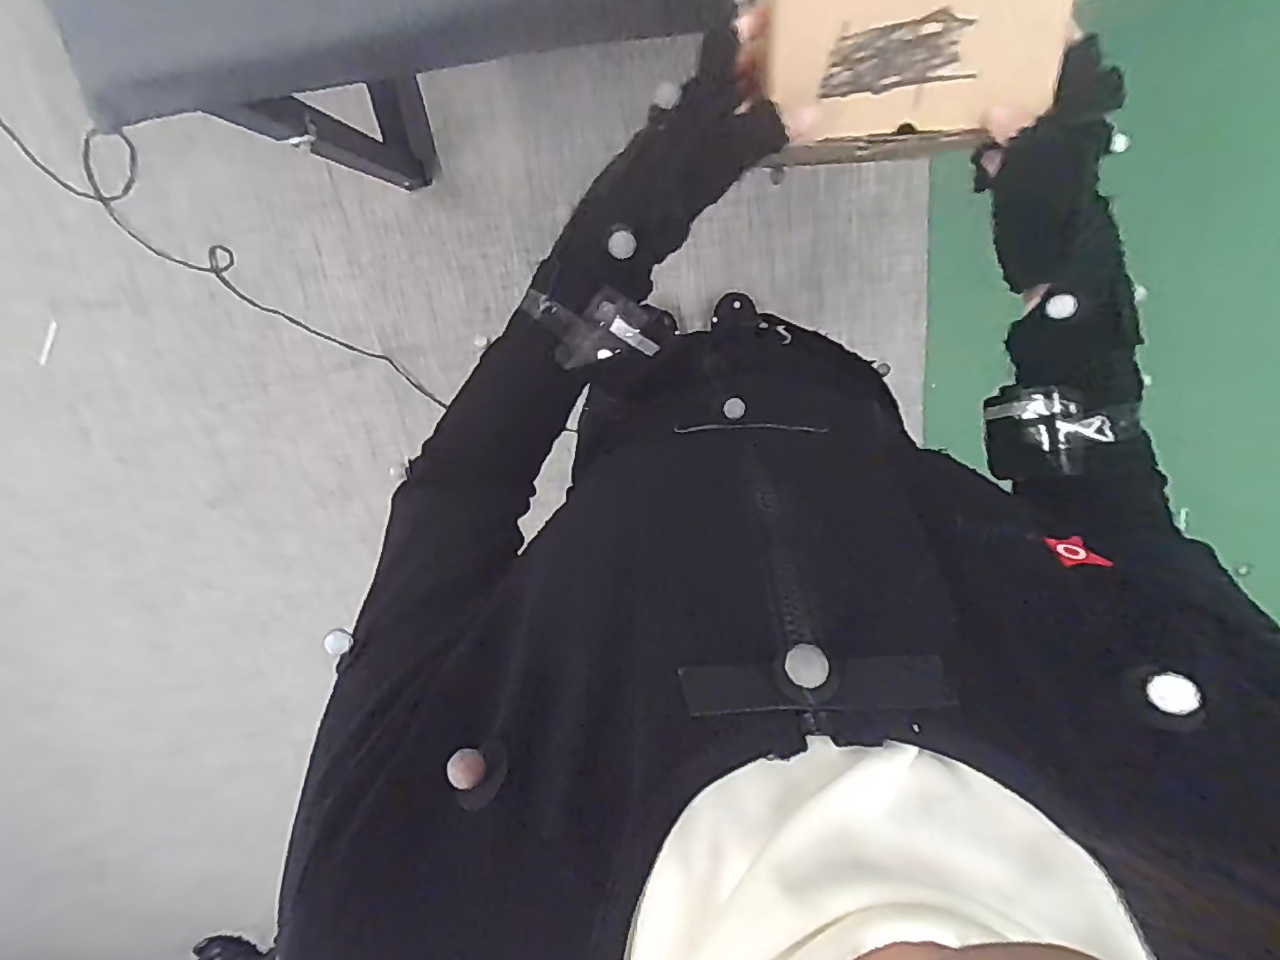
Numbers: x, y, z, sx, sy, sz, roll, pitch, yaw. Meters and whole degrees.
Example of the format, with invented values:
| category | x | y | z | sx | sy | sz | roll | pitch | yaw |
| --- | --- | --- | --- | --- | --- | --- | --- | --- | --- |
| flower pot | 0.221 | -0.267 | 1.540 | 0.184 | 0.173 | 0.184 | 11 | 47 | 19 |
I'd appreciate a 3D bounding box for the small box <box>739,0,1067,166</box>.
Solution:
| category | x | y | z | sx | sy | sz | roll | pitch | yaw |
| --- | --- | --- | --- | --- | --- | --- | --- | --- | --- |
| small box | 0.164 | -0.323 | 0.375 | 0.168 | 0.176 | 0.179 | 0 | 115 | 2 |
